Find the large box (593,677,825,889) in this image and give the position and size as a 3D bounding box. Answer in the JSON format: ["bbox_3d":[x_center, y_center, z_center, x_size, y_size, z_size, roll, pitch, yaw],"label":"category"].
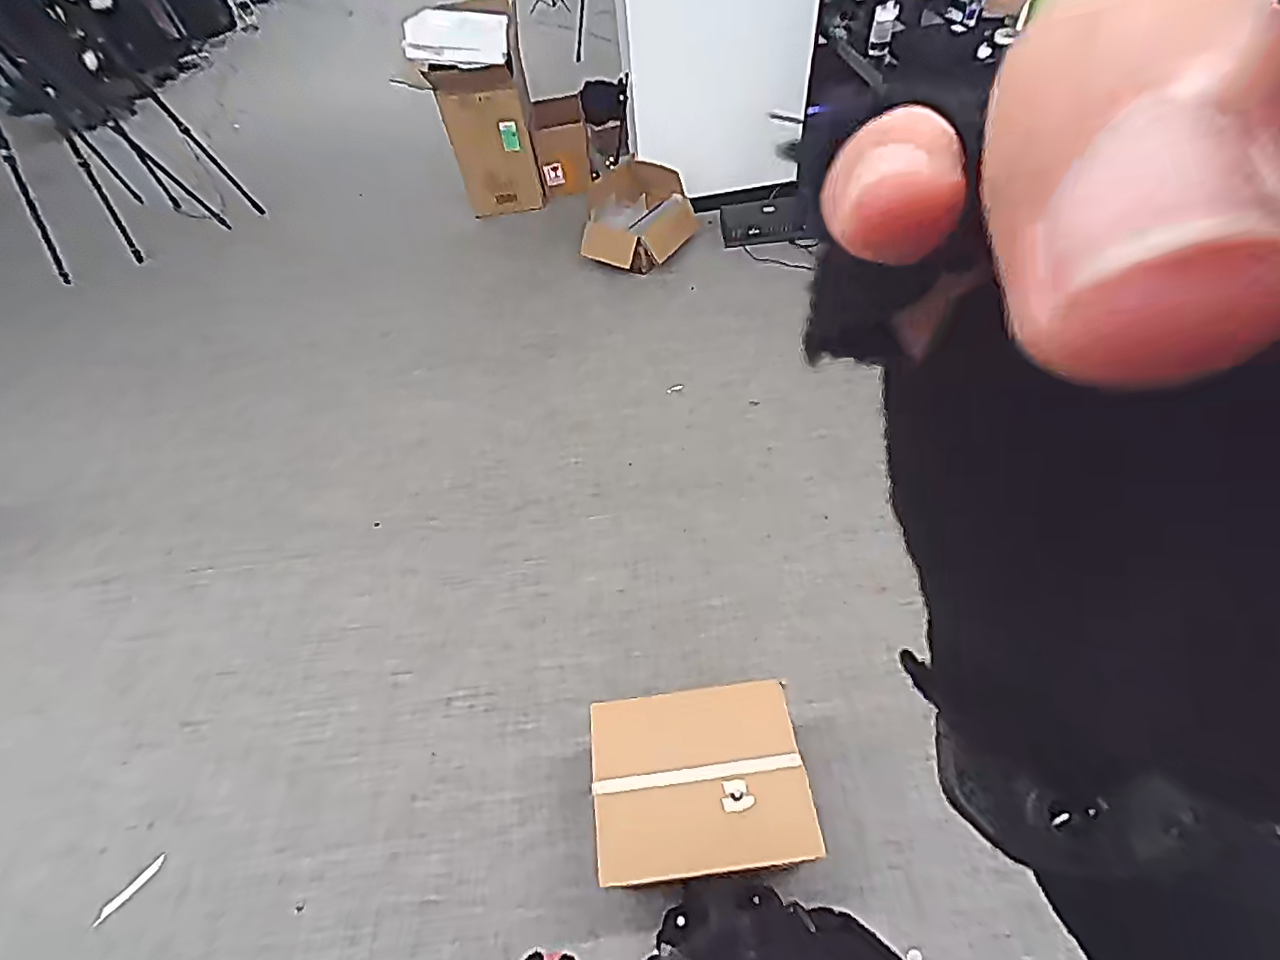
[{"bbox_3d":[0.126,0.653,1.157,0.408,0.320,0.320,-8,53,0],"label":"large box"}]
